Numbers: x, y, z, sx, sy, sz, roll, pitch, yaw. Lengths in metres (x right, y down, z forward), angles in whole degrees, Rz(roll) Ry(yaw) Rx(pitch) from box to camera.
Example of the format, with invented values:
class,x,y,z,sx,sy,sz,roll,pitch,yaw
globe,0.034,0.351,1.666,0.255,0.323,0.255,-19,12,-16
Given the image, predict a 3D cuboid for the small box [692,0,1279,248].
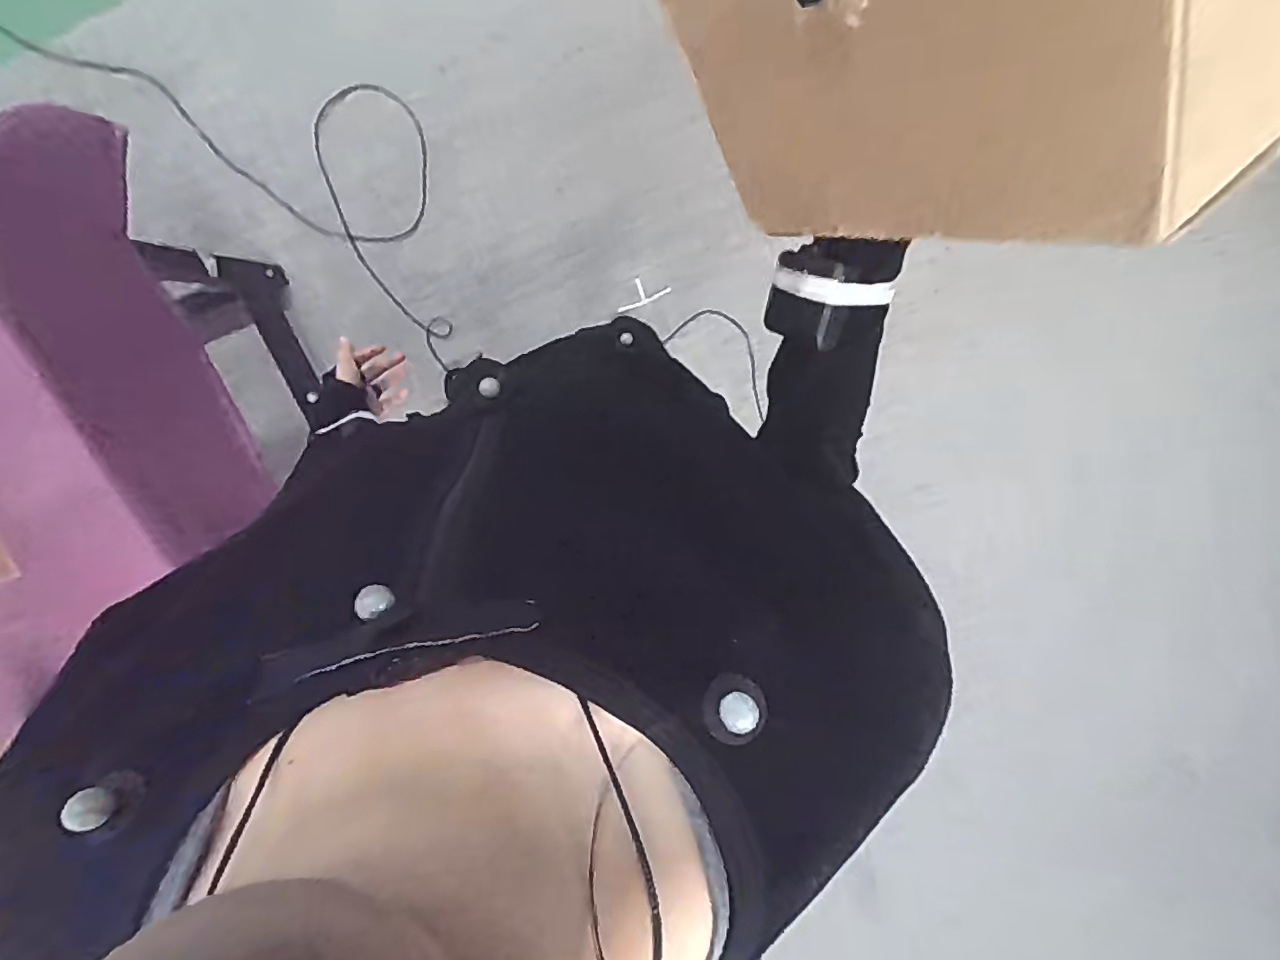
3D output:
class,x,y,z,sx,sy,sz,roll,pitch,yaw
small box,0.118,-0.195,0.153,0.179,0.168,0.176,-39,126,-4
